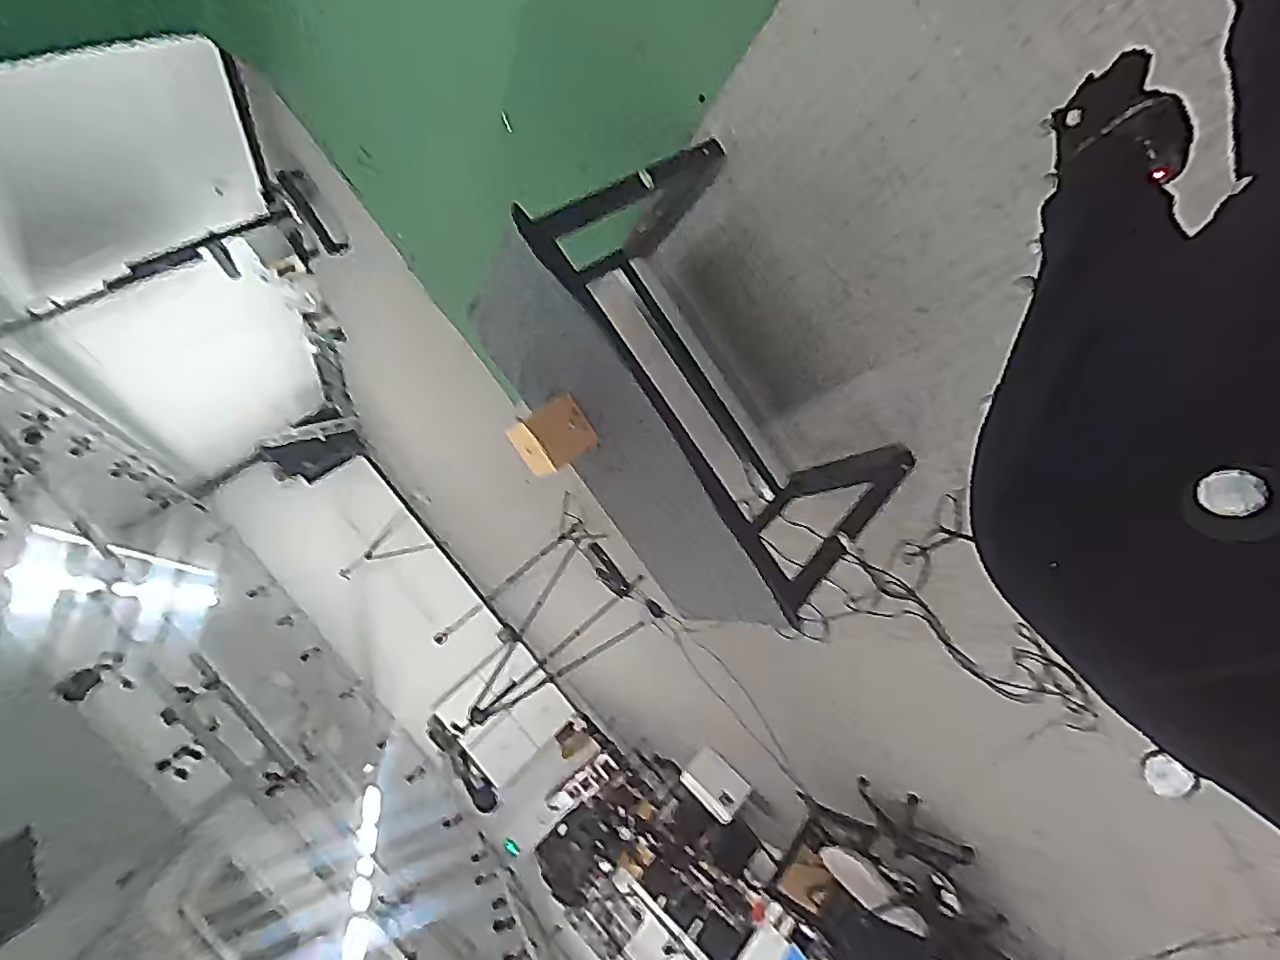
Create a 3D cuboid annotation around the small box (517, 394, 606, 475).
[{"bbox_3d":[-0.228,-0.132,1.593,0.168,0.176,0.179,57,152,-13],"label":"small box"}]
